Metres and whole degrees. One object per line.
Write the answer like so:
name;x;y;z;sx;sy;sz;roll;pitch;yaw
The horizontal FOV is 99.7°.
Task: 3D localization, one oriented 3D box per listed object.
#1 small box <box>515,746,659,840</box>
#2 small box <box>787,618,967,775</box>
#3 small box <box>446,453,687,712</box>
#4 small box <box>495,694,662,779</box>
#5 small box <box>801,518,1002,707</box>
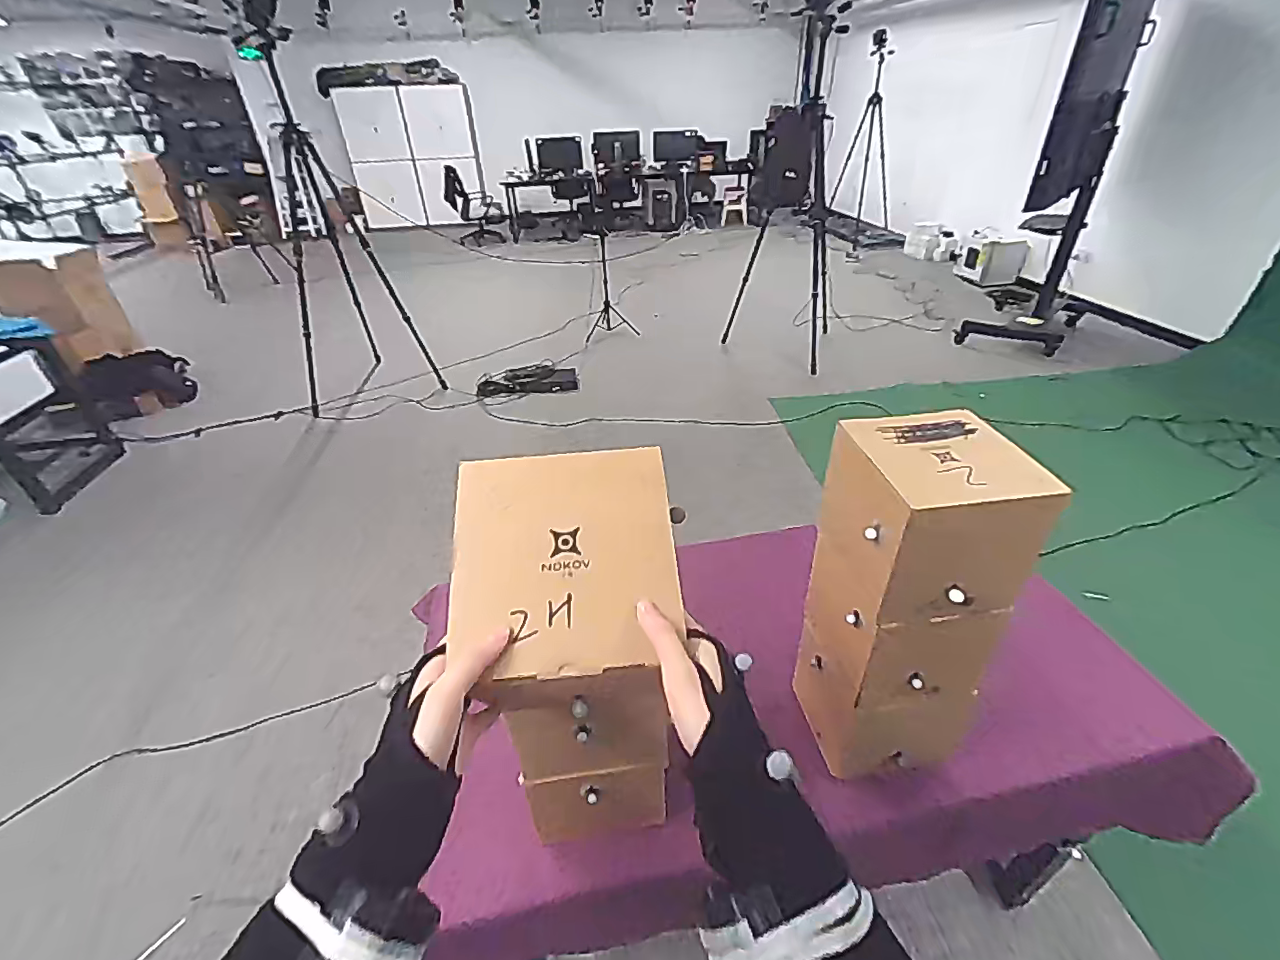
small box;-0.070;0.375;0.760;0.179;0.176;0.168;-6;35;-6
small box;0.342;0.315;0.819;0.179;0.176;0.168;-6;34;-6
small box;-0.058;0.096;0.473;0.168;0.176;0.179;-5;63;-3
small box;-0.070;0.239;0.669;0.179;0.176;0.168;-8;36;-5
small box;0.333;0.176;0.735;0.168;0.176;0.179;-7;36;-6
